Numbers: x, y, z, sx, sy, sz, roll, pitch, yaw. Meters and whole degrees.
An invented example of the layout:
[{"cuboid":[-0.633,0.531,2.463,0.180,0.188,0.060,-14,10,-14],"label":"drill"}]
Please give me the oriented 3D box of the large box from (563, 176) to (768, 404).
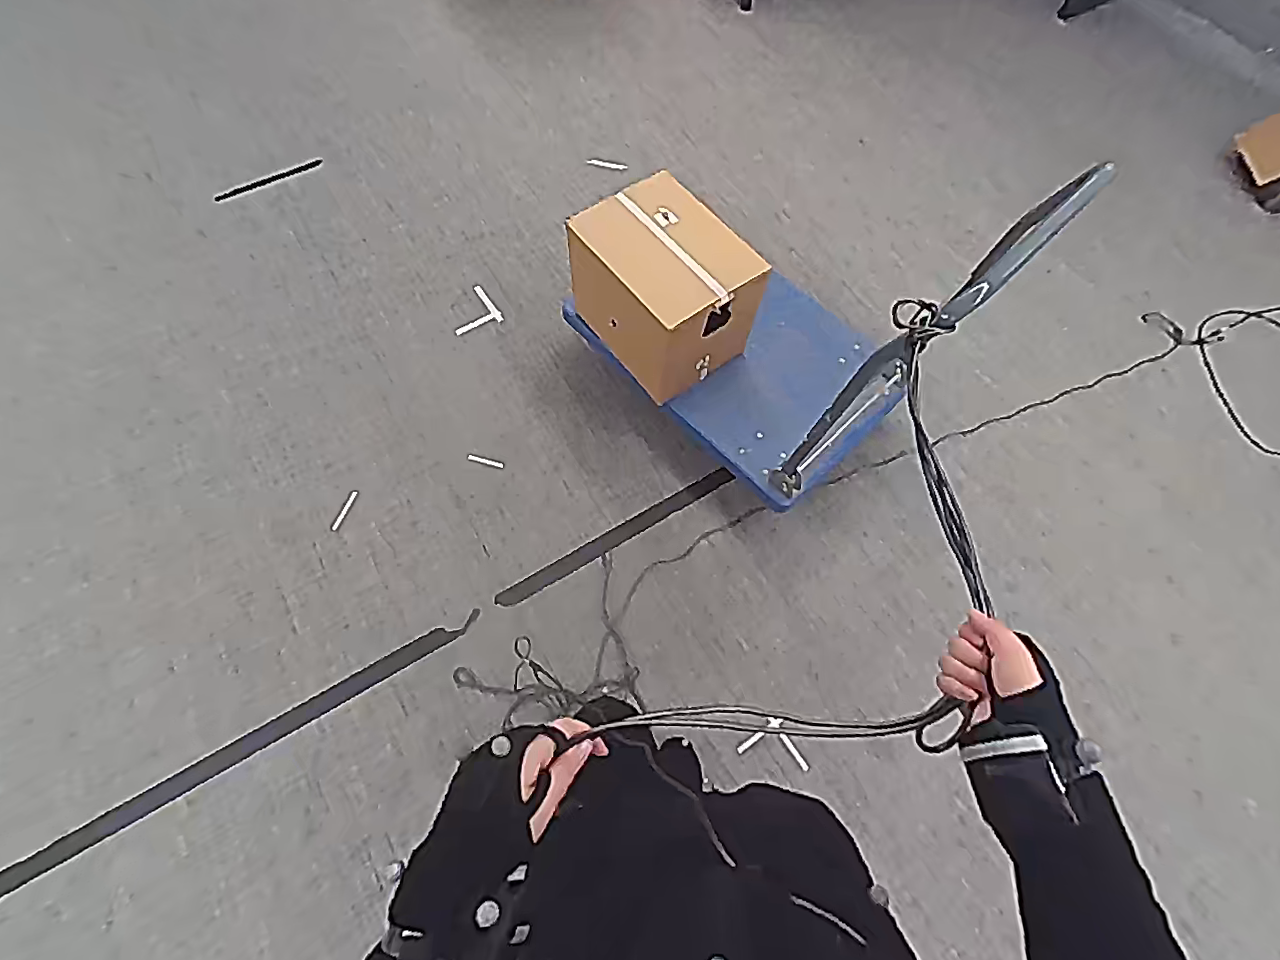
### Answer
[{"cuboid":[0.055,-0.479,1.395,0.320,0.320,0.408,-34,71,-16],"label":"large box"}]
